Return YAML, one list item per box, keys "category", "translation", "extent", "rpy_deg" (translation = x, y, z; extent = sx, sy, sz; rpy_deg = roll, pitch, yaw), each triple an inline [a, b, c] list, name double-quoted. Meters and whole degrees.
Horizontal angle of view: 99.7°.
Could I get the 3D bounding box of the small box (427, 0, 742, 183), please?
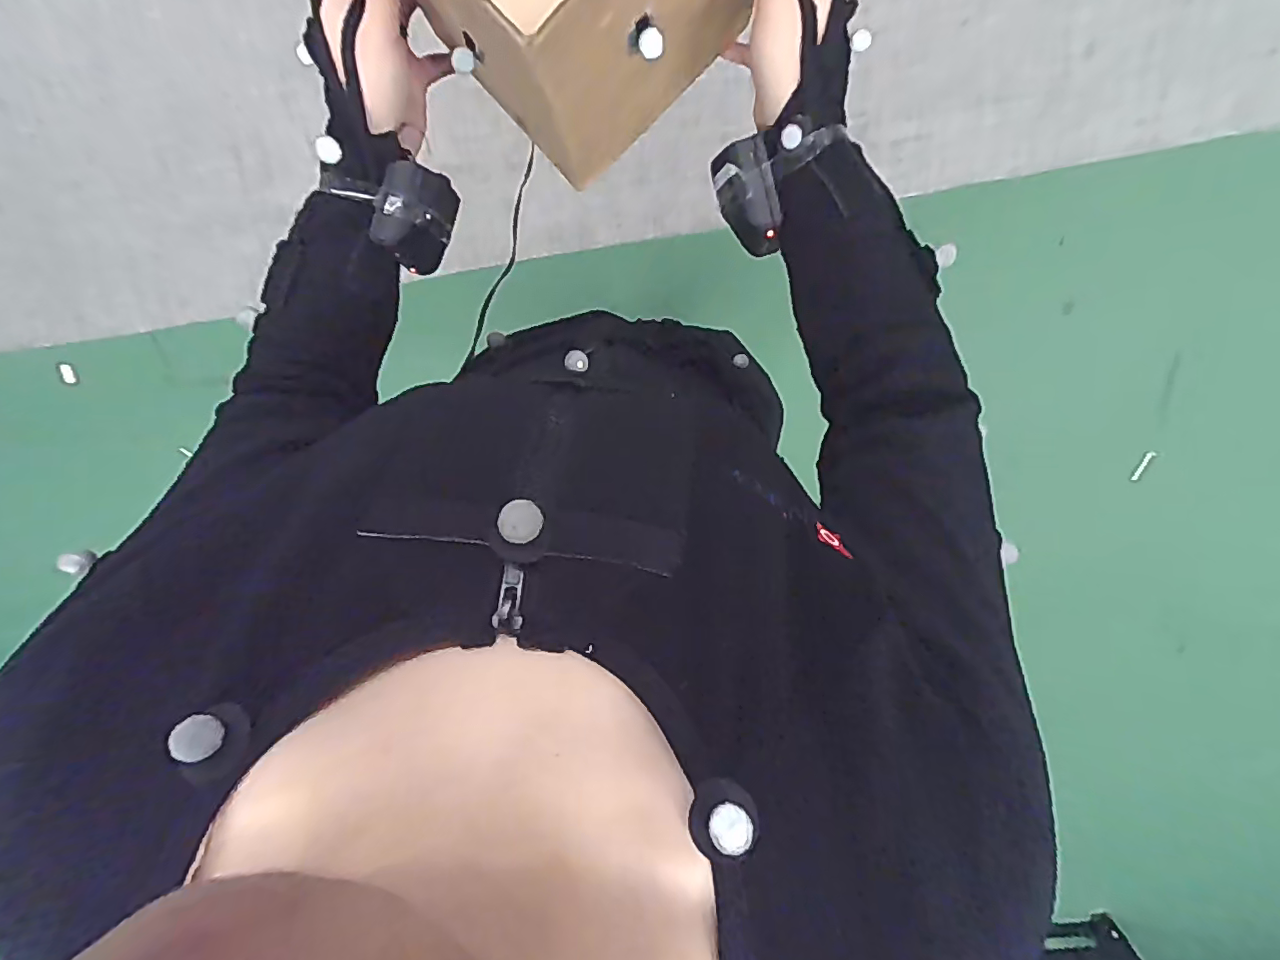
- category: "small box"
  translation: [-0.040, -0.331, 0.335]
  extent: [0.179, 0.176, 0.168]
  rpy_deg: [-43, 92, 6]
